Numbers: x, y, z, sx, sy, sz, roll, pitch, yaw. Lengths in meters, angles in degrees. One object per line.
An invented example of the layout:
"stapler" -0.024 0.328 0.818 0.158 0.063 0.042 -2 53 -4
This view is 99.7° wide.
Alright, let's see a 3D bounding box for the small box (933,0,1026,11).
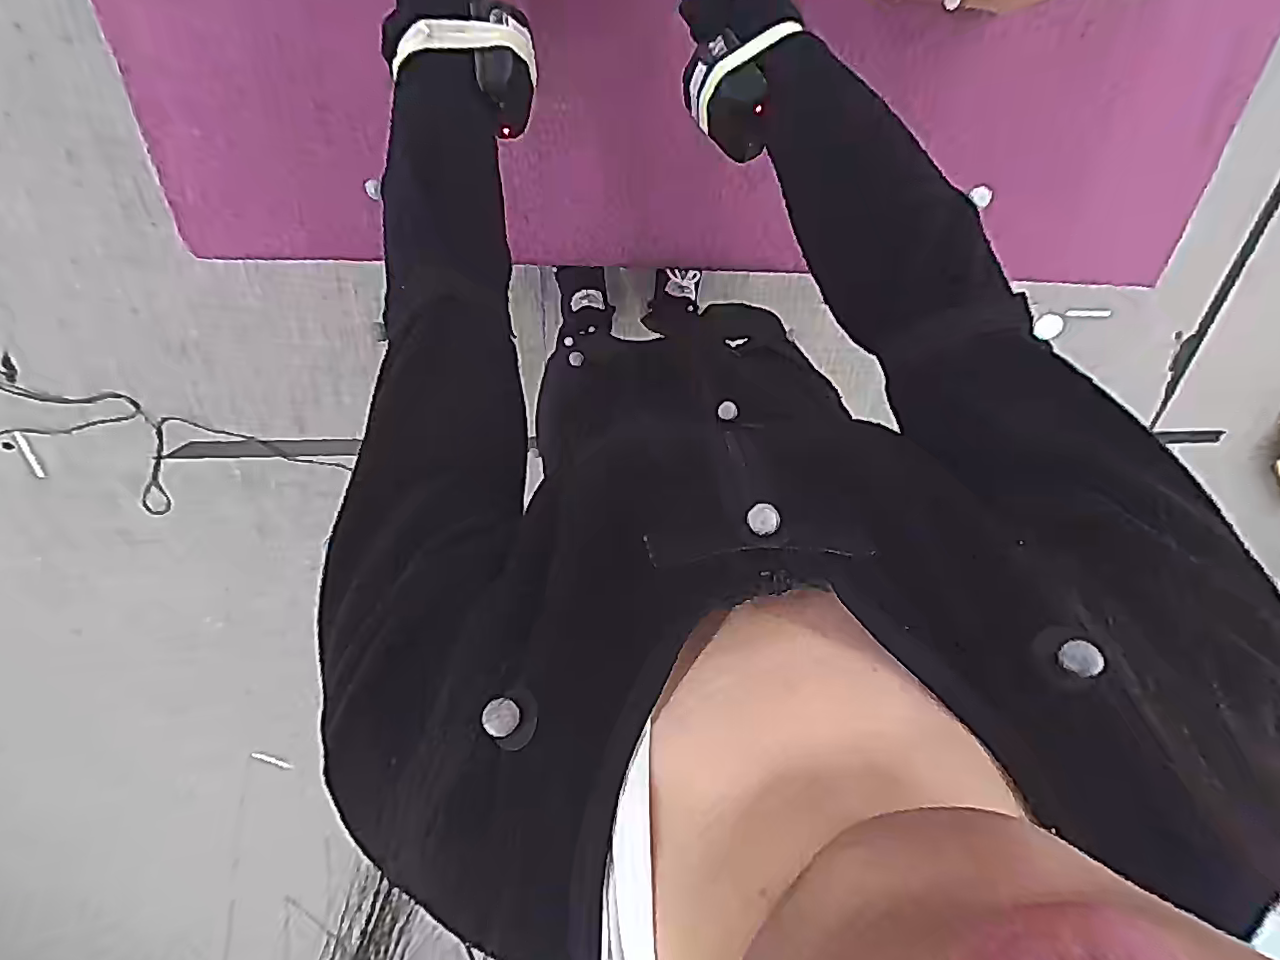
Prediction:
"small box" 0.316 -0.528 0.444 0.168 0.176 0.179 1 121 -11
